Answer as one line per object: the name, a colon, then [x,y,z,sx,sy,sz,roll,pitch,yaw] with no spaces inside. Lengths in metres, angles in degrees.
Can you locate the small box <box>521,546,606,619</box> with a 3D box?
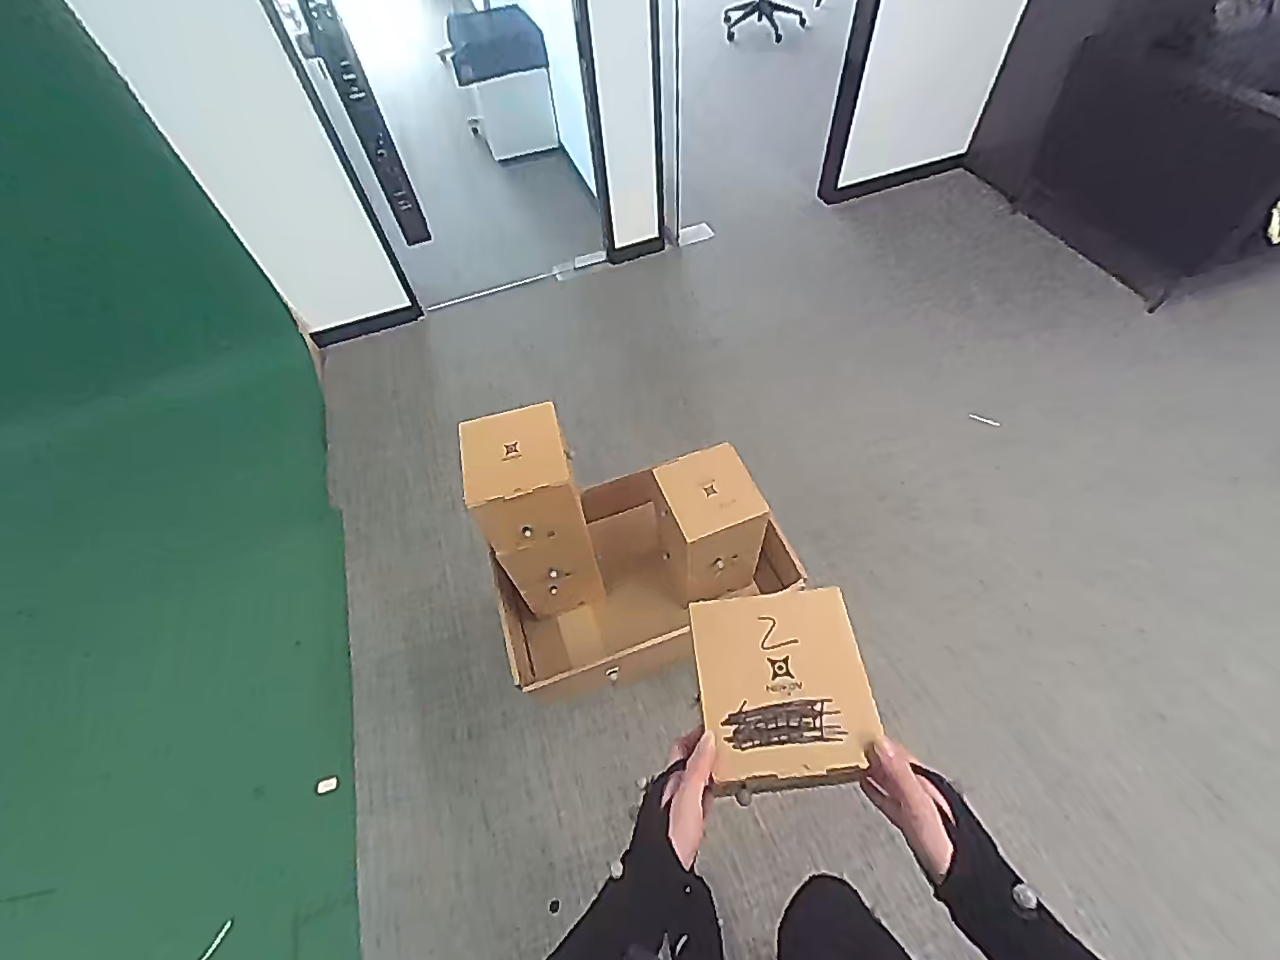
small box: [-0.181,0.183,1.213,0.168,0.176,0.179,-16,56,-7]

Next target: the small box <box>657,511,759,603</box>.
small box: [0.147,0.155,1.204,0.168,0.176,0.179,-18,55,-8]

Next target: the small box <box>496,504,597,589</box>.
small box: [-0.190,0.090,1.078,0.168,0.176,0.179,-15,56,-5]

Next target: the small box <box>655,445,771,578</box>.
small box: [0.136,0.065,1.069,0.168,0.176,0.179,-19,57,-8]

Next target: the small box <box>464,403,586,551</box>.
small box: [-0.197,-0.002,0.945,0.168,0.176,0.179,-14,57,-5]
